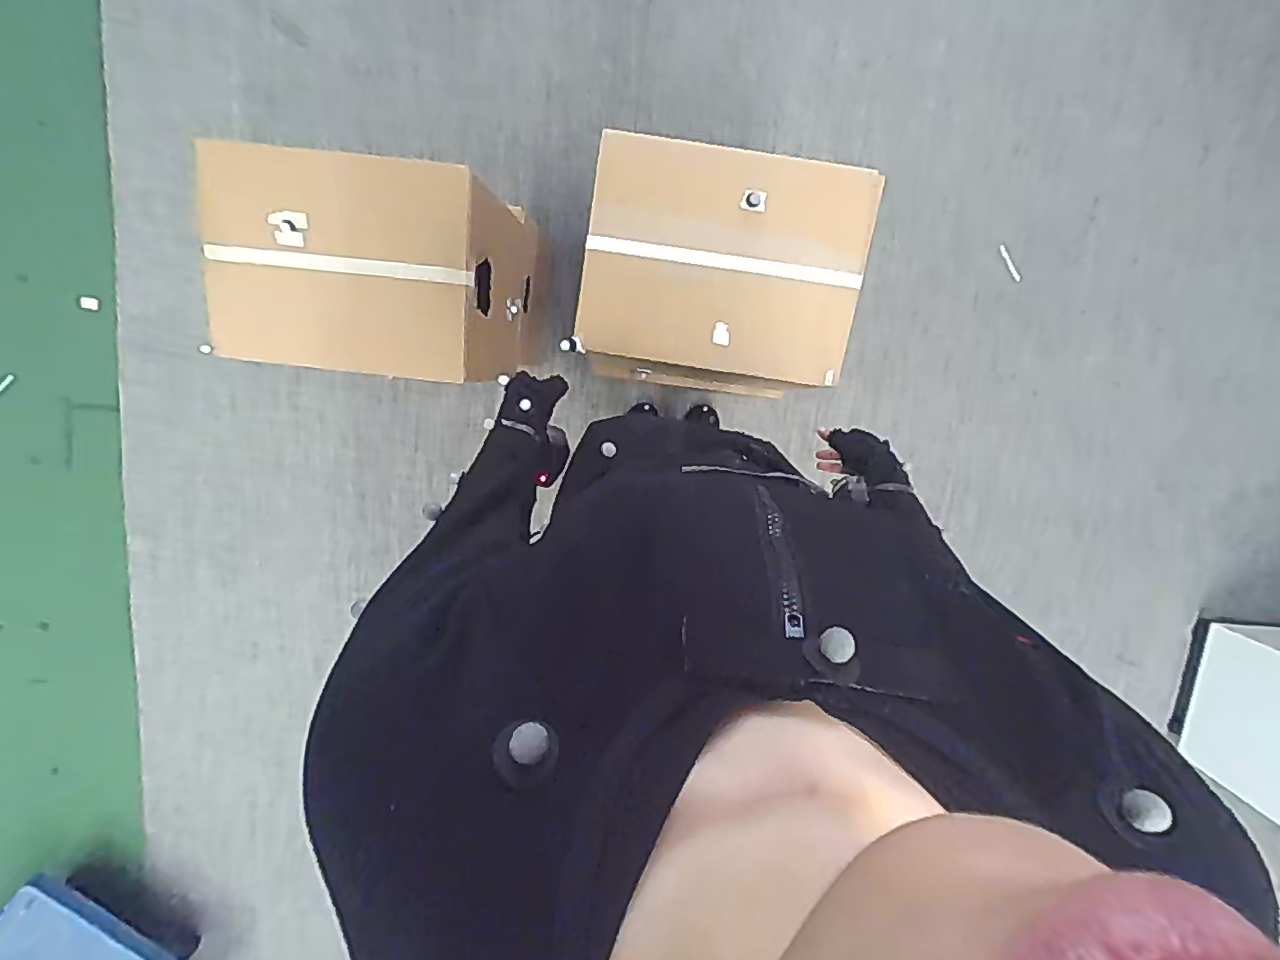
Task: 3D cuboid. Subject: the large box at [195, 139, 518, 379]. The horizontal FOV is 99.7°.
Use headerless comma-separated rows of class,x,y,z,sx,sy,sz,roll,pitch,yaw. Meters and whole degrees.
large box,-0.452,-0.359,0.952,0.408,0.320,0.320,7,103,2
